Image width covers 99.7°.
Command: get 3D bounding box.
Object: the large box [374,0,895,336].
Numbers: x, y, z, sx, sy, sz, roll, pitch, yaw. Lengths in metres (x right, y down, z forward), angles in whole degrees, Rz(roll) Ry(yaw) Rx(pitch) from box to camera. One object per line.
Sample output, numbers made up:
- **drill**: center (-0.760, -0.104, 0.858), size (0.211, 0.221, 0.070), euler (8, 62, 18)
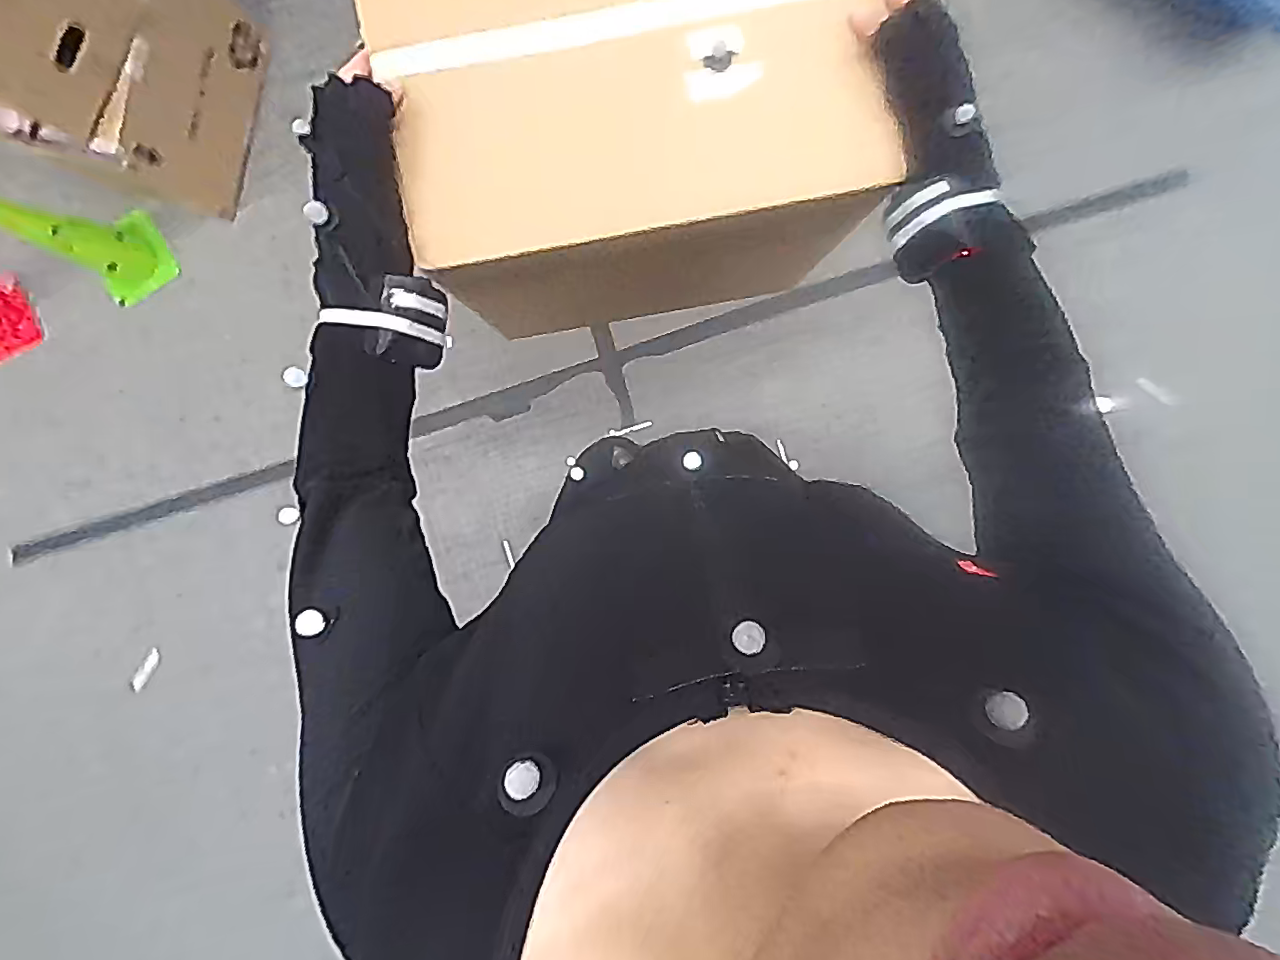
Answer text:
- **large box**: center (-0.013, -0.372, 0.586), size (0.408, 0.320, 0.320), euler (-10, 94, -1)
